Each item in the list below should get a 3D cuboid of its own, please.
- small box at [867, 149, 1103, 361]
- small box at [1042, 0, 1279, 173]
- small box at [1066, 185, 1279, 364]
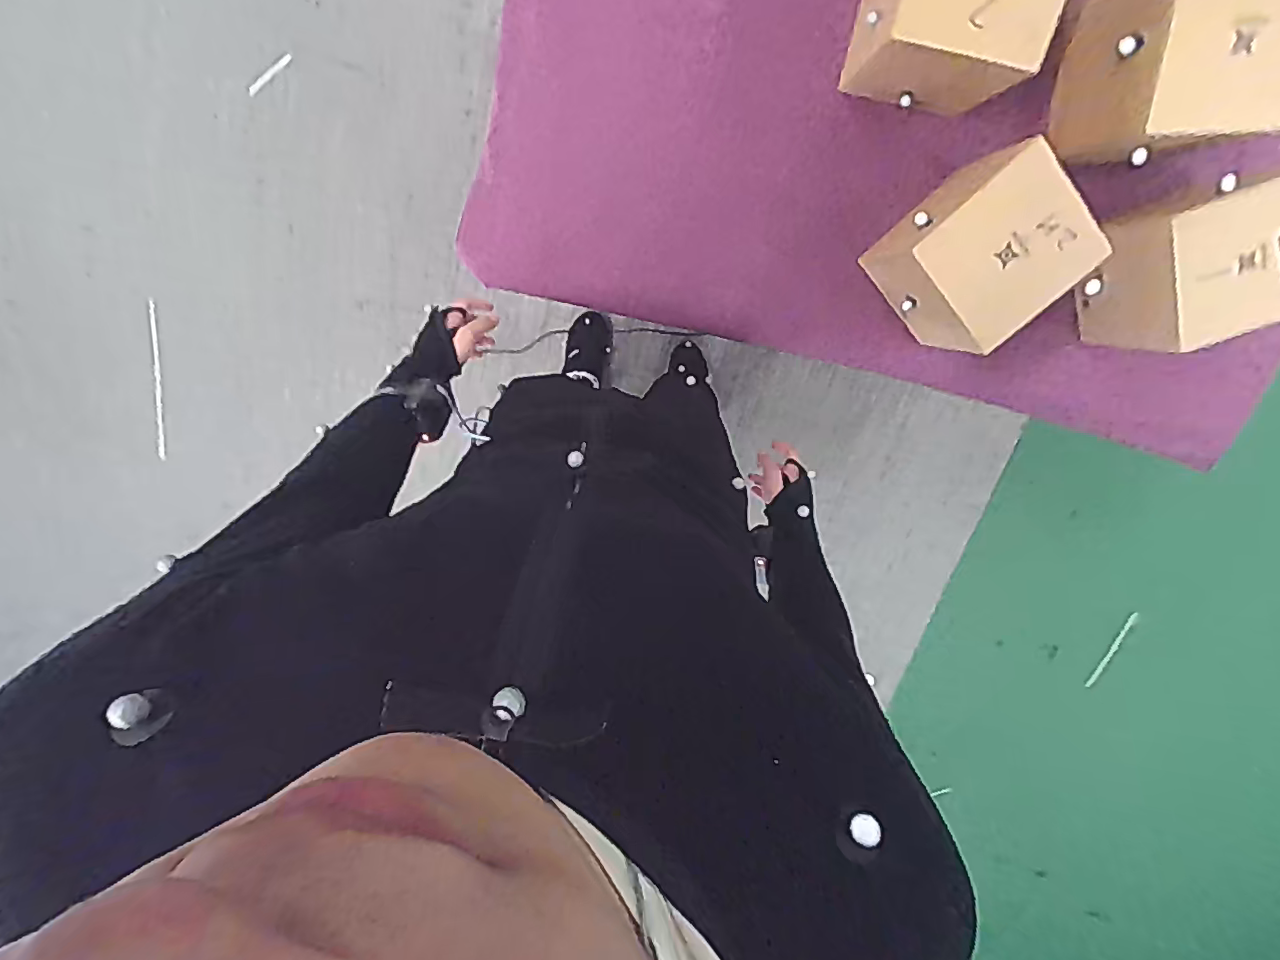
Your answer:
[{"bbox_3d":[0.428,-0.281,0.709,0.179,0.176,0.168,-41,104,12],"label":"small box"},{"bbox_3d":[0.627,-0.476,0.645,0.168,0.176,0.179,-1,109,1],"label":"small box"},{"bbox_3d":[0.712,-0.269,0.714,0.179,0.176,0.168,-19,107,8],"label":"small box"}]
